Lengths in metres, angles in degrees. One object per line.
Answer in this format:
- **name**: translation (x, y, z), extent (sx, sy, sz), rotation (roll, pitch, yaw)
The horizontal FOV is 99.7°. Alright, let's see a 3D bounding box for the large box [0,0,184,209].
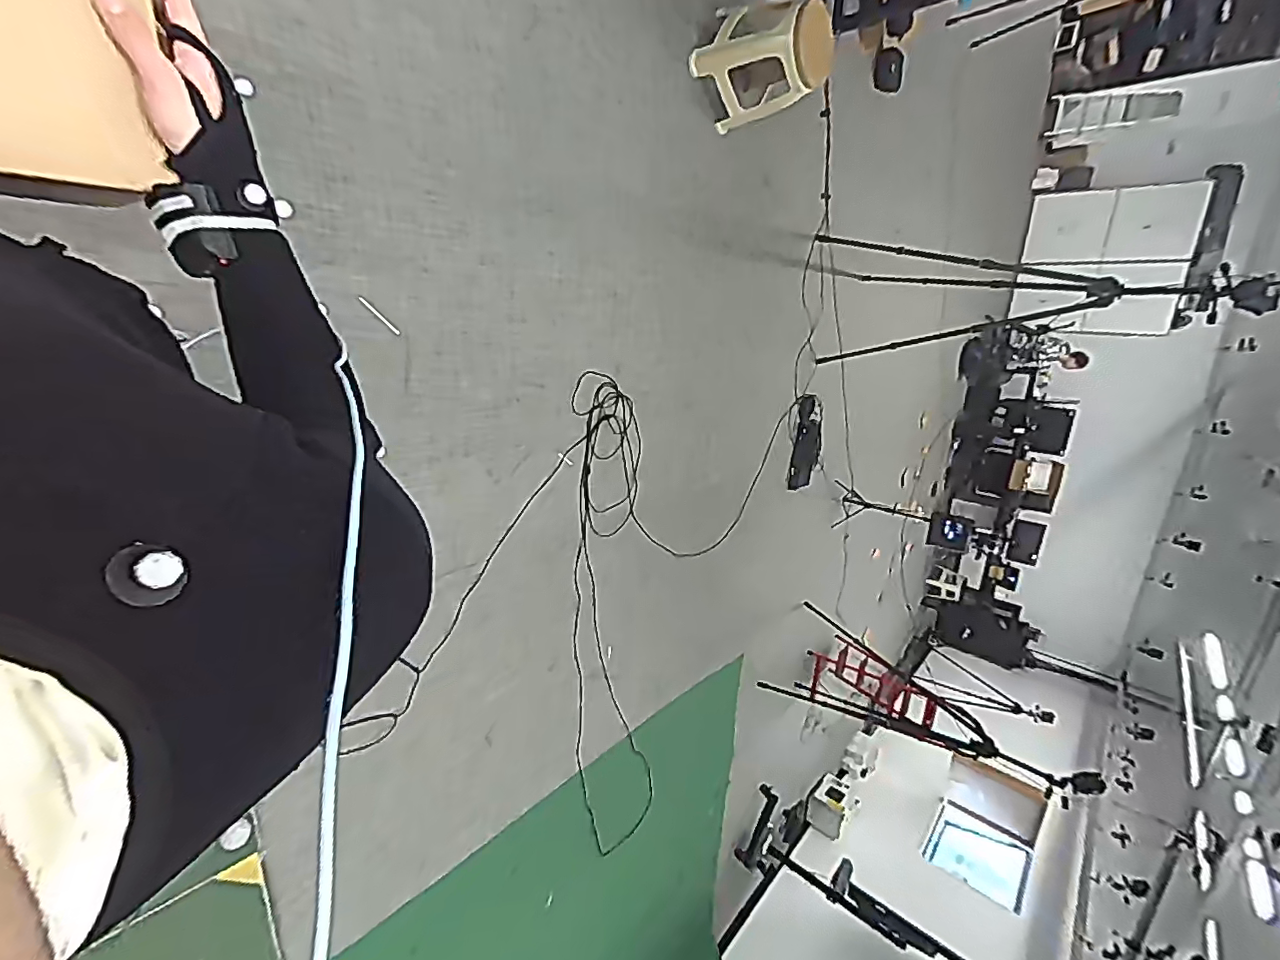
- **large box**: translation (-0.625, -0.384, 0.360), extent (0.408, 0.320, 0.320), rotation (-18, 119, -47)
